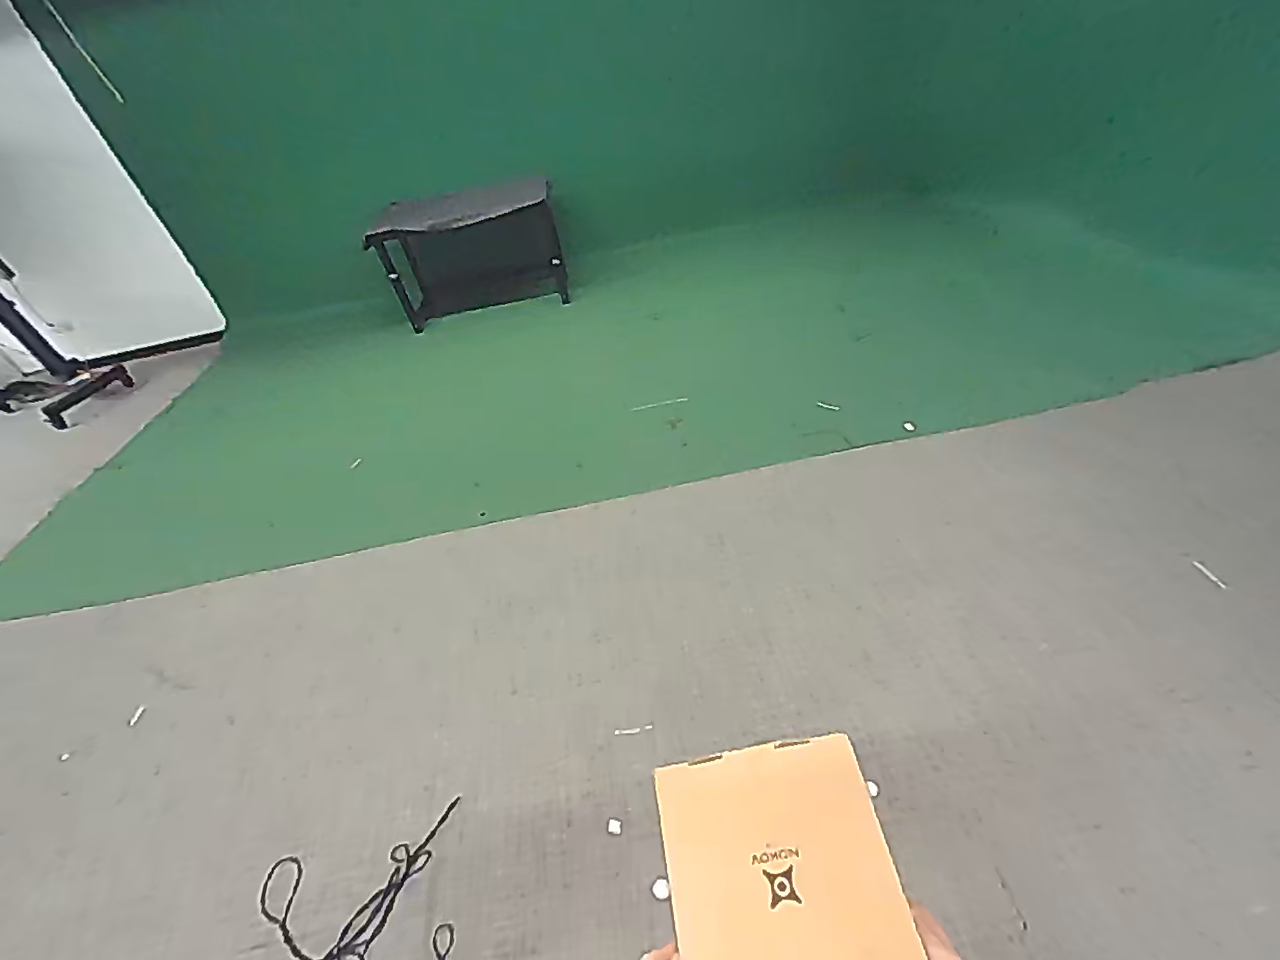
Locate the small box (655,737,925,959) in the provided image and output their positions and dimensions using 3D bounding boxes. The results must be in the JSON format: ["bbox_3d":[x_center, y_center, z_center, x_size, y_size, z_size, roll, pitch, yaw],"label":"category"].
[{"bbox_3d":[0.116,0.341,0.455,0.168,0.176,0.179,-12,50,2],"label":"small box"}]
